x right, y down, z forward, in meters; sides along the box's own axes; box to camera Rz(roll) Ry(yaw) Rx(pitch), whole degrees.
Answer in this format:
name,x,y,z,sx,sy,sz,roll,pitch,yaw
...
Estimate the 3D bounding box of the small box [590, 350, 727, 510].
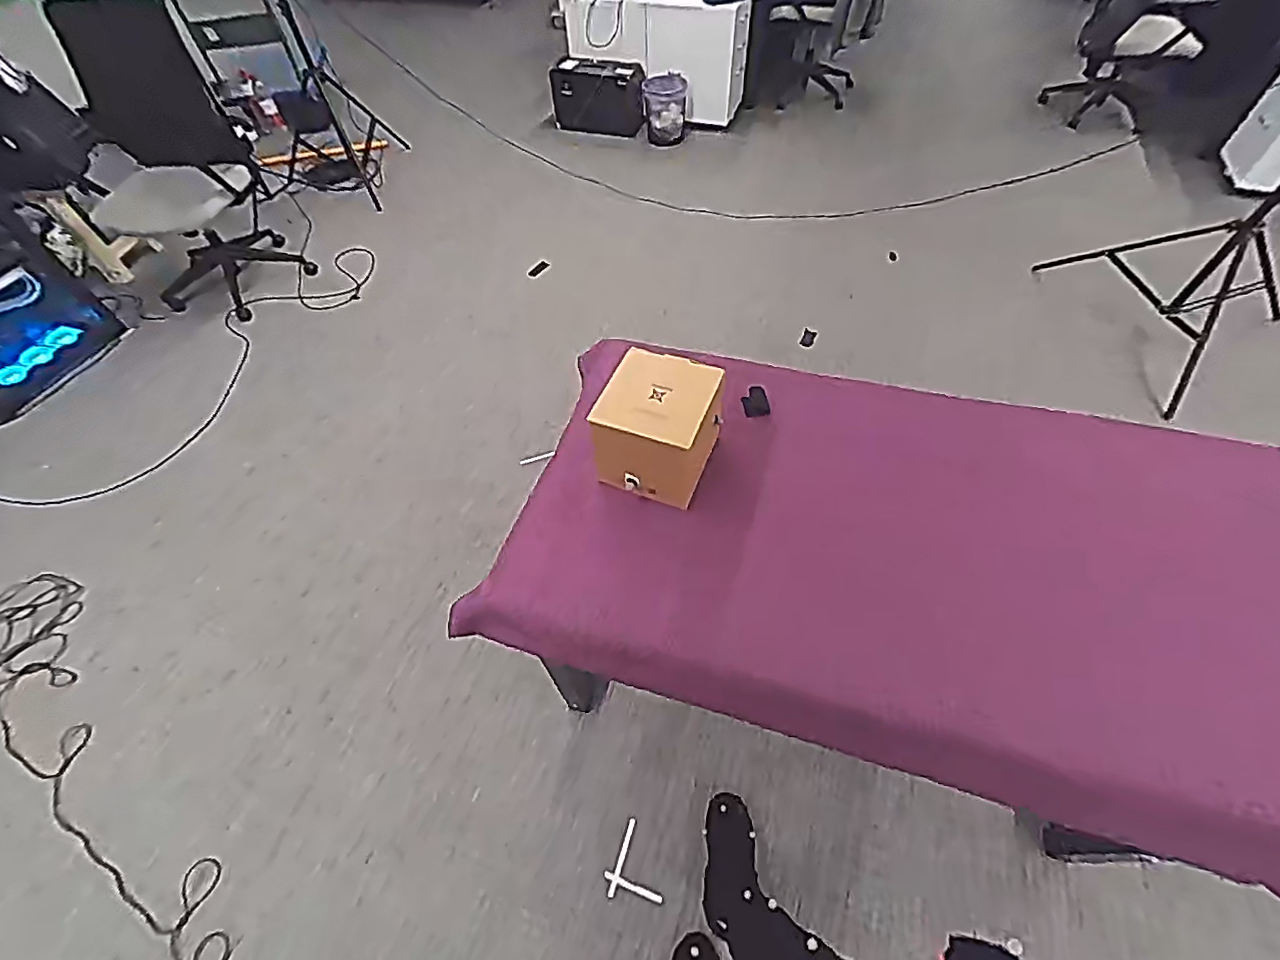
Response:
name,x,y,z,sx,sy,sz,roll,pitch,yaw
small box,0.033,-0.081,0.892,0.168,0.176,0.179,17,57,15
